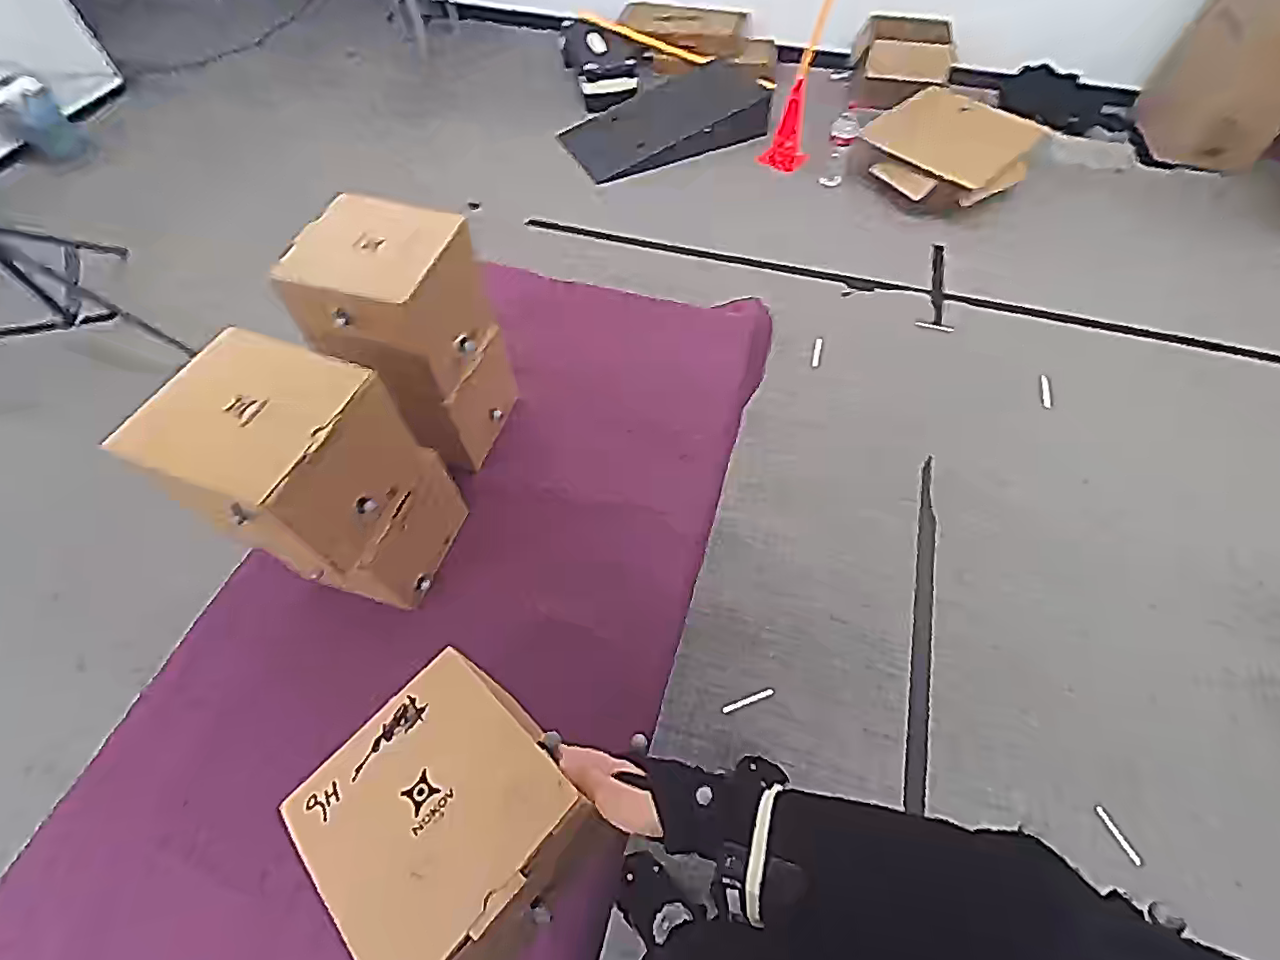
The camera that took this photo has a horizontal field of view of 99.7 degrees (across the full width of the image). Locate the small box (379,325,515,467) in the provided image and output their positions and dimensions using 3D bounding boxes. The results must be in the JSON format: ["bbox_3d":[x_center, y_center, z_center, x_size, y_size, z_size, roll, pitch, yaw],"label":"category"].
[{"bbox_3d":[-0.317,-0.141,0.841,0.179,0.176,0.168,15,60,8],"label":"small box"}]

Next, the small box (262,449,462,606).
[{"bbox_3d":[-0.365,0.053,0.722,0.179,0.176,0.168,15,59,8],"label":"small box"}]

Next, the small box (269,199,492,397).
[{"bbox_3d":[-0.319,-0.231,0.707,0.179,0.176,0.168,13,60,6],"label":"small box"}]

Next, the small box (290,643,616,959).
[{"bbox_3d":[-0.140,0.279,0.462,0.179,0.176,0.168,35,65,29],"label":"small box"}]

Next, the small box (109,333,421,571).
[{"bbox_3d":[-0.372,-0.022,0.578,0.179,0.176,0.168,17,60,8],"label":"small box"}]
